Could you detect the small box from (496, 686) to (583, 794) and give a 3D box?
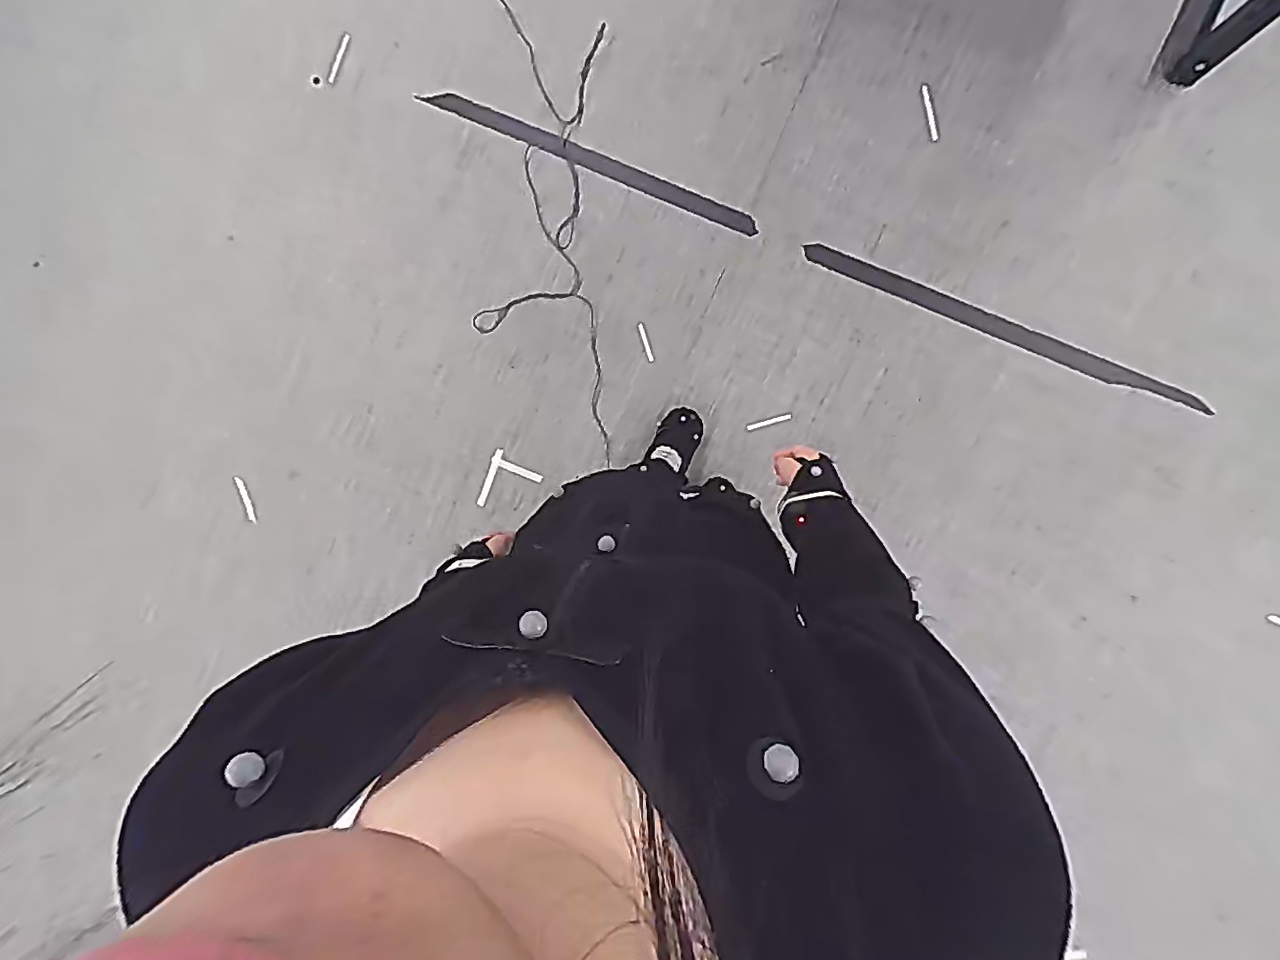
[{"bbox_3d":[-0.261,0.684,1.442,0.168,0.176,0.179,15,94,6],"label":"small box"}]
